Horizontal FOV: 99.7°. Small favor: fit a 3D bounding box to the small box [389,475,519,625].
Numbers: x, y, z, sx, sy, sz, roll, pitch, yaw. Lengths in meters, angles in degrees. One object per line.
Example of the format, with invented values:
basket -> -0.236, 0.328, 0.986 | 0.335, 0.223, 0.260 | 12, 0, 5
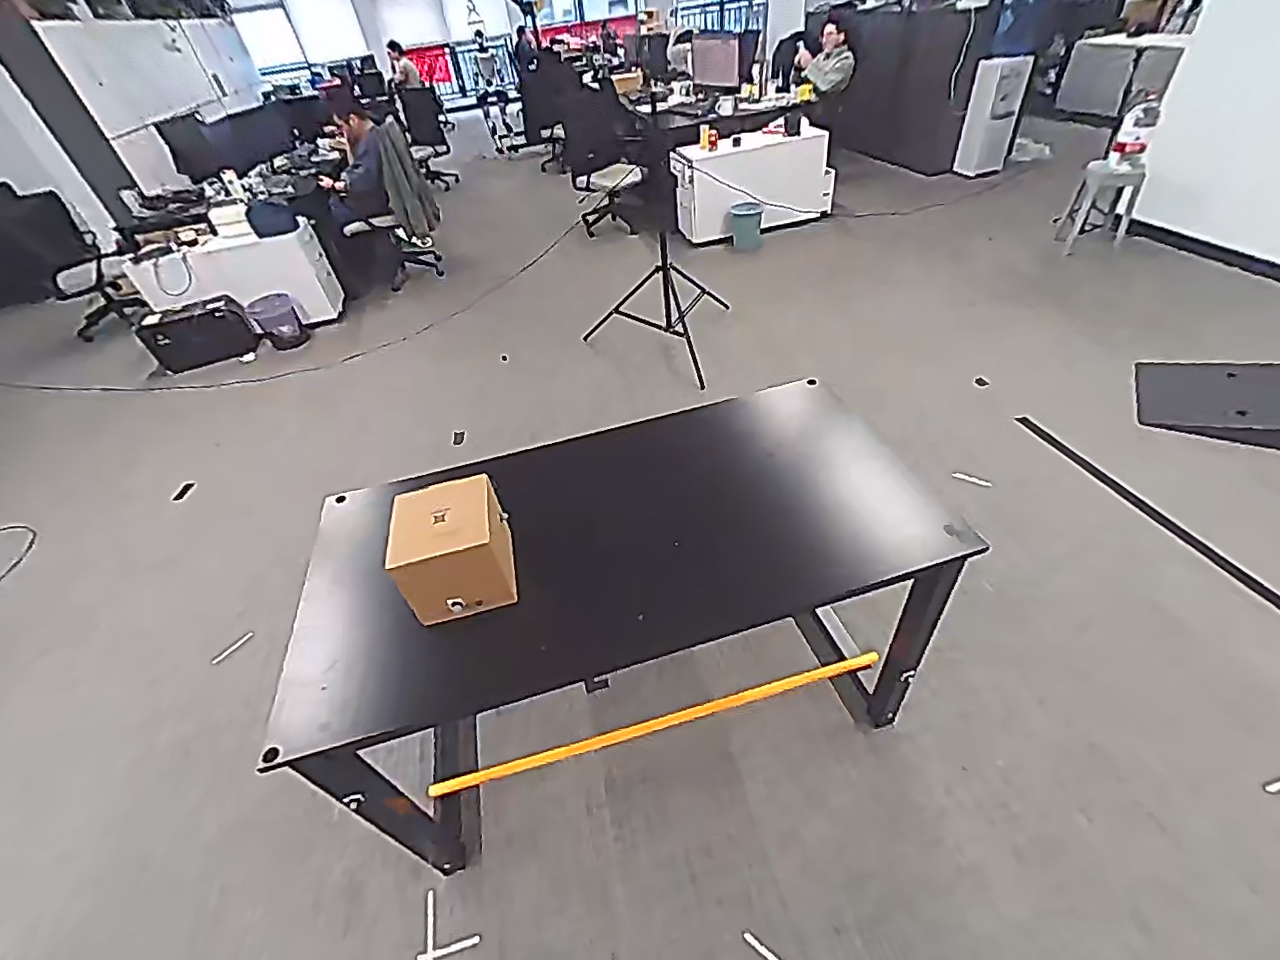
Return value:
small box -> -0.321, 0.124, 0.957 | 0.168, 0.176, 0.179 | -15, 43, -6
